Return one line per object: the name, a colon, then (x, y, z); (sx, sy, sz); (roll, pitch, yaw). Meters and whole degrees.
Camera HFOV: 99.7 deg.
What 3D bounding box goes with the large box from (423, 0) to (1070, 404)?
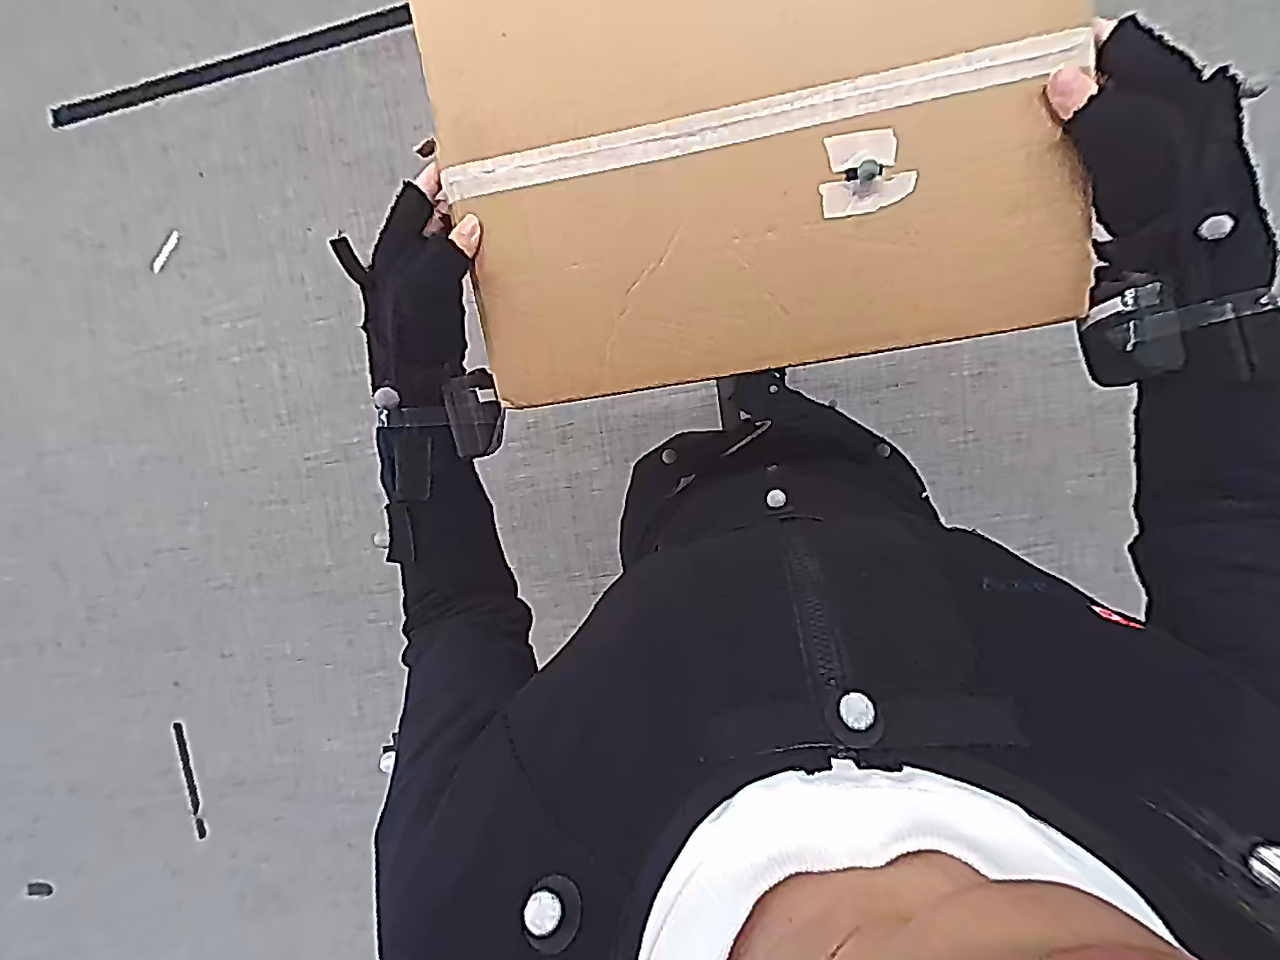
large box: (0.081, -0.269, 0.503); (0.408, 0.320, 0.320); (-9, 103, 6)
